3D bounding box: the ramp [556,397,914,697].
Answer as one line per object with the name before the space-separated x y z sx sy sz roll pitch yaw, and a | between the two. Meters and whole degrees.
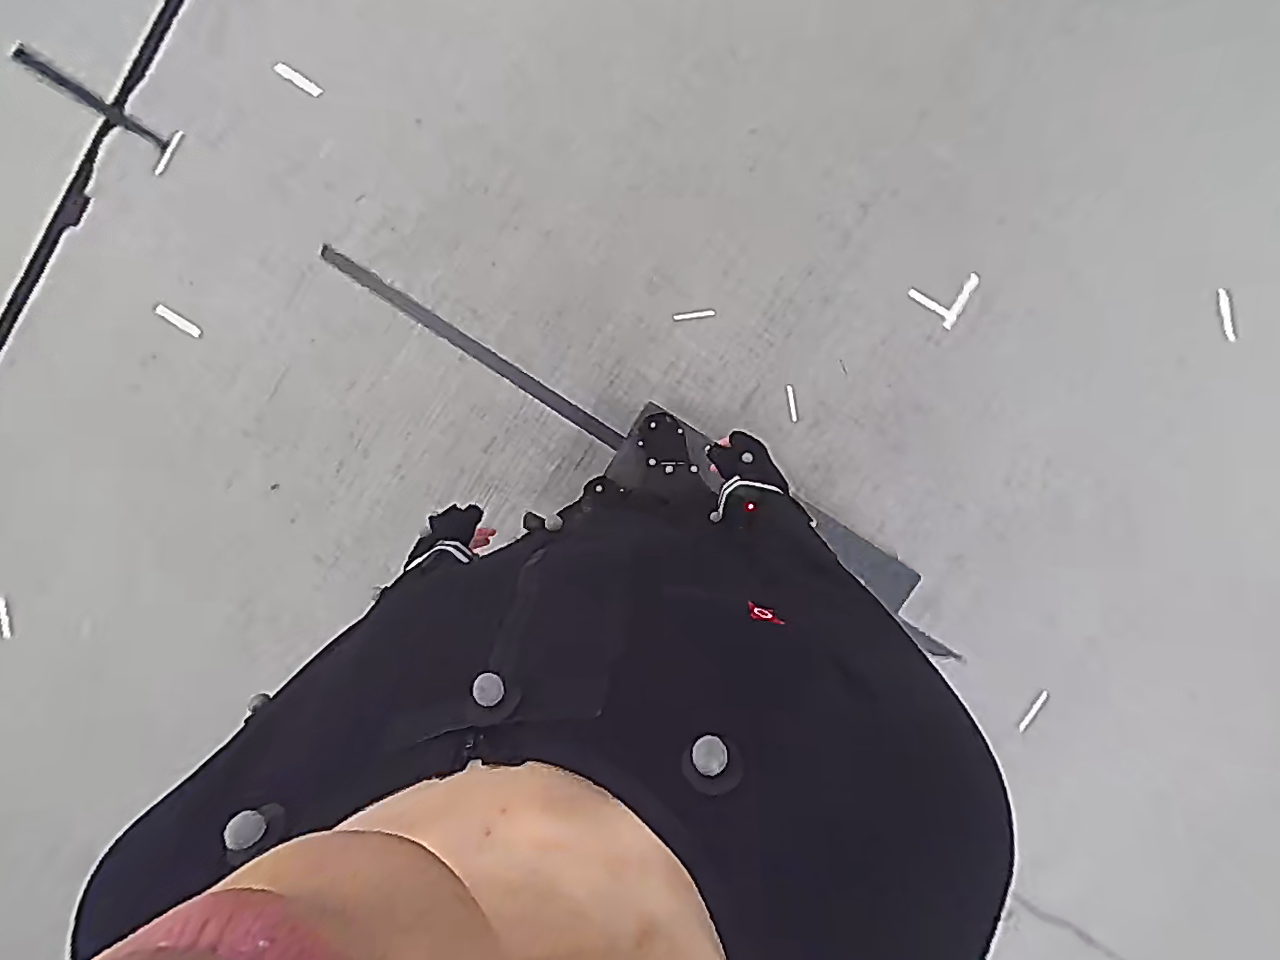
ramp | 0.307 0.223 1.571 0.991 0.206 0.509 30 92 -2
